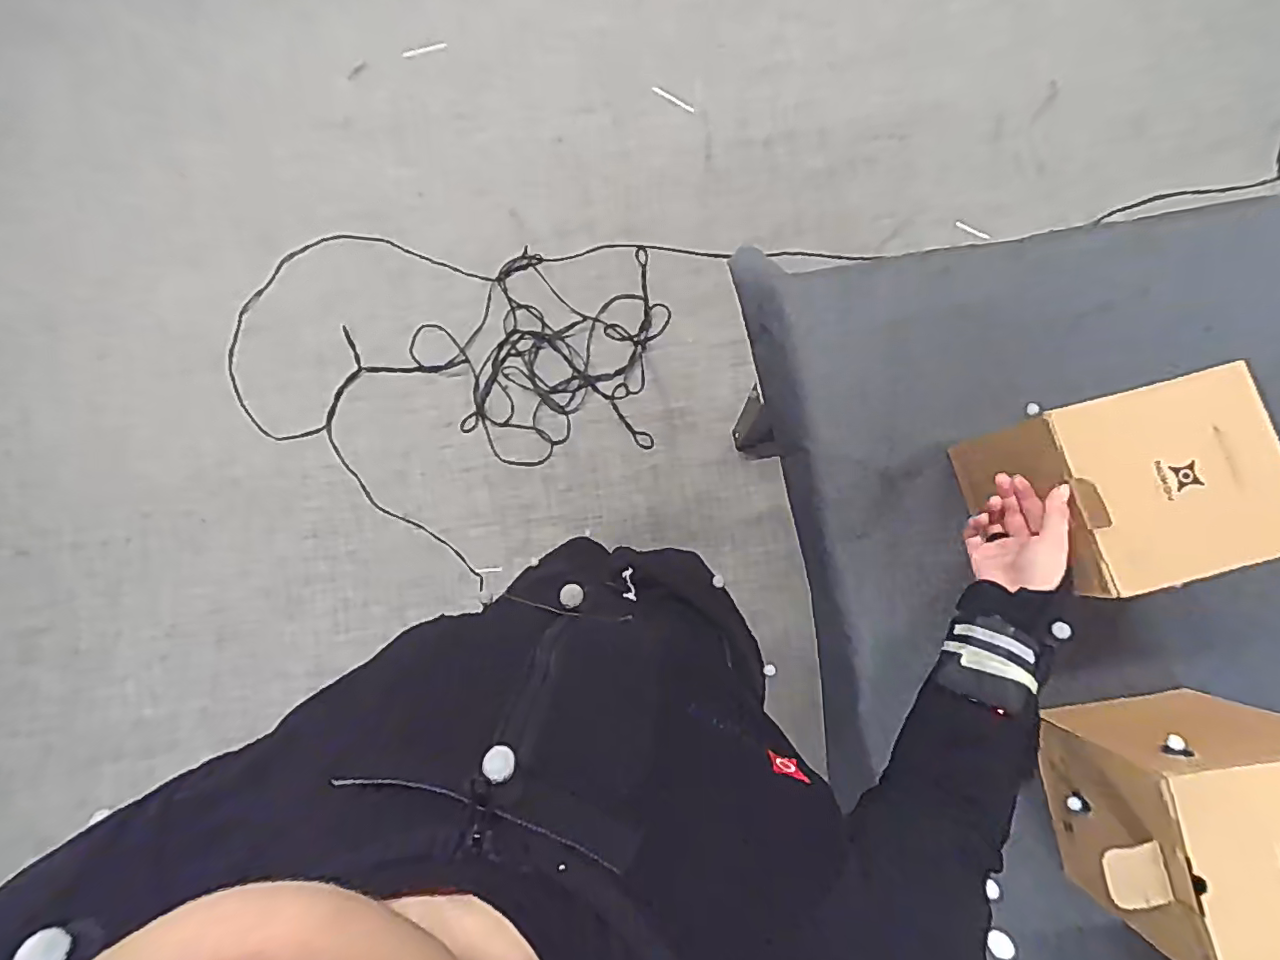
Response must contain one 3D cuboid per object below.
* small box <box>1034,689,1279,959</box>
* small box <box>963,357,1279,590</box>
[{"bbox_3d":[0.516,0.304,0.493,0.179,0.176,0.168,-10,83,3],"label":"small box"},{"bbox_3d":[0.456,0.003,0.533,0.179,0.176,0.168,-16,83,-1],"label":"small box"}]
